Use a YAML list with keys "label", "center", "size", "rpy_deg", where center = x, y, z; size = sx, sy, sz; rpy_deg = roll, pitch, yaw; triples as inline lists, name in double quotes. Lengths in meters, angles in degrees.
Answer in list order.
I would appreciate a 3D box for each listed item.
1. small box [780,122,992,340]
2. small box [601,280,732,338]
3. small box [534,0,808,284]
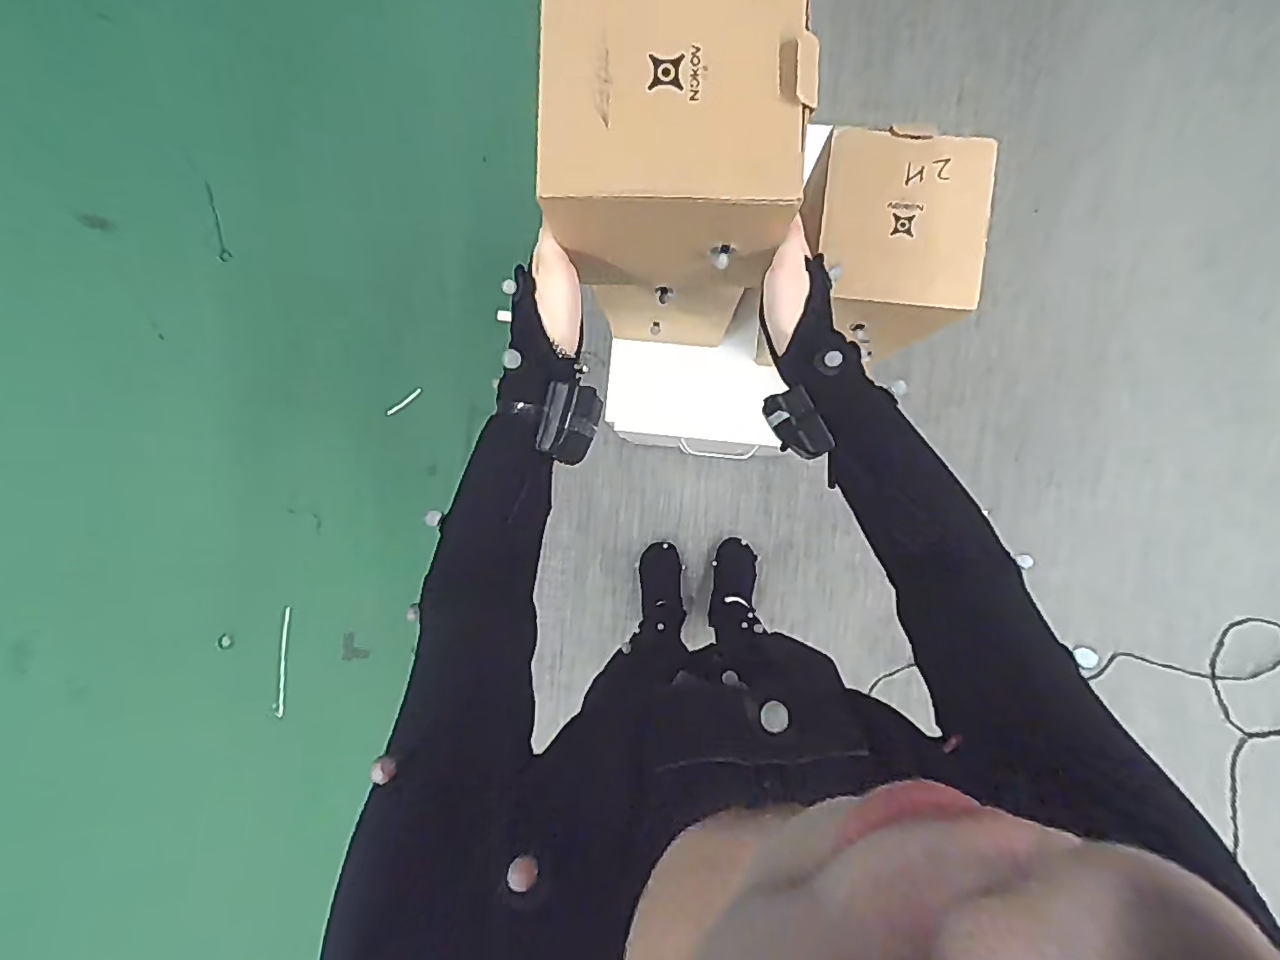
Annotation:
- label: "small box"
  center: [0.265, -0.270, 0.625]
  size: [0.168, 0.176, 0.179]
  rpy_deg: [7, 91, 3]
- label: "small box"
  center: [0.043, -0.314, 0.799]
  size: [0.179, 0.176, 0.168]
  rpy_deg: [5, 92, 1]
- label: "small box"
  center: [0.022, -0.265, 0.428]
  size: [0.179, 0.176, 0.168]
  rpy_deg: [1, 91, 3]
